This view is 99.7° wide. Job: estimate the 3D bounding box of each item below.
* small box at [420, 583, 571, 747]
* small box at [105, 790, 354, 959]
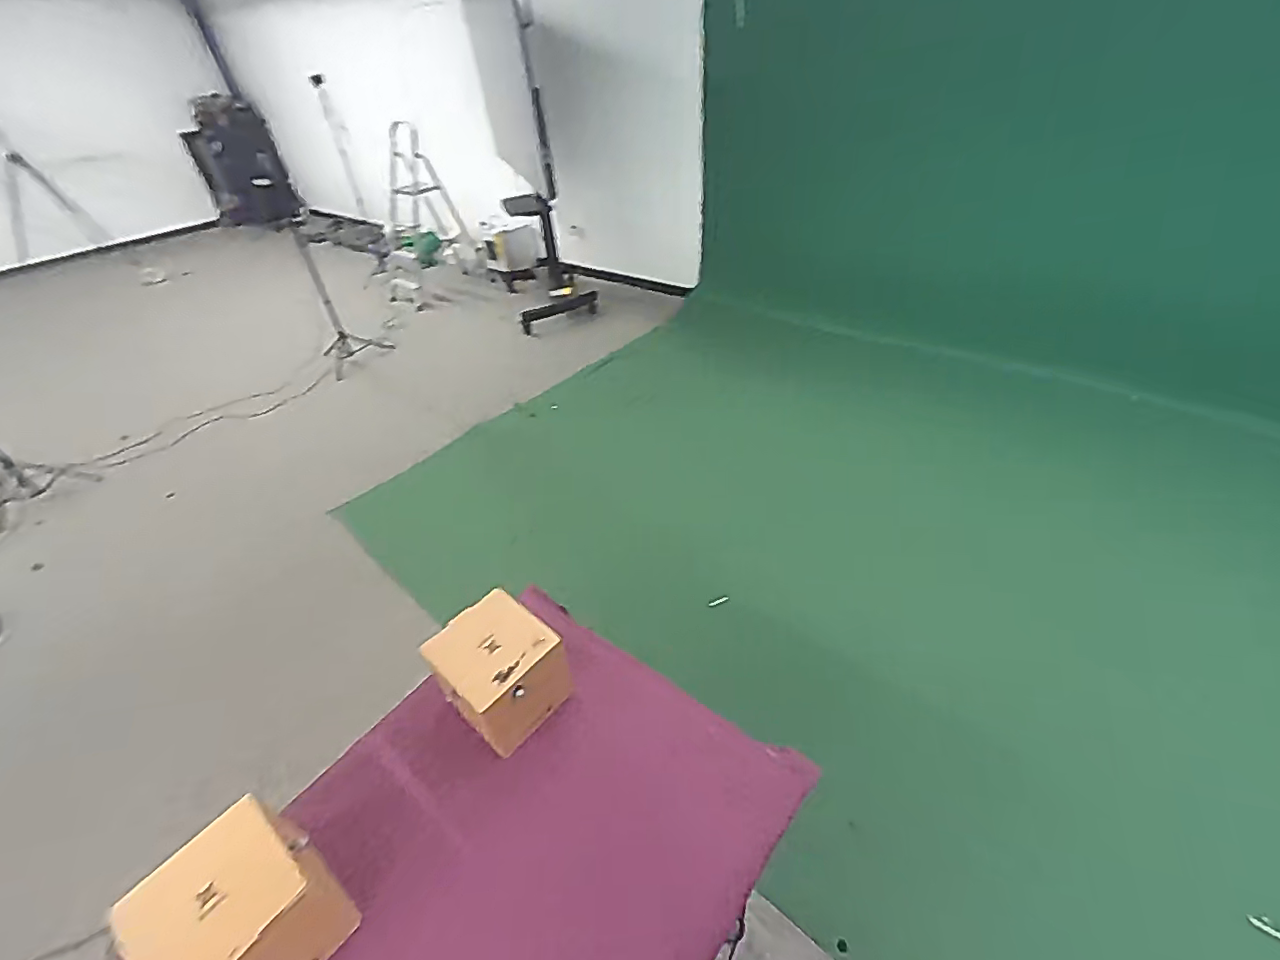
[{"bbox_3d":[-0.242,0.320,0.934,0.179,0.176,0.168,28,51,32],"label":"small box"},{"bbox_3d":[-0.508,0.551,0.689,0.179,0.176,0.168,25,48,29],"label":"small box"}]
